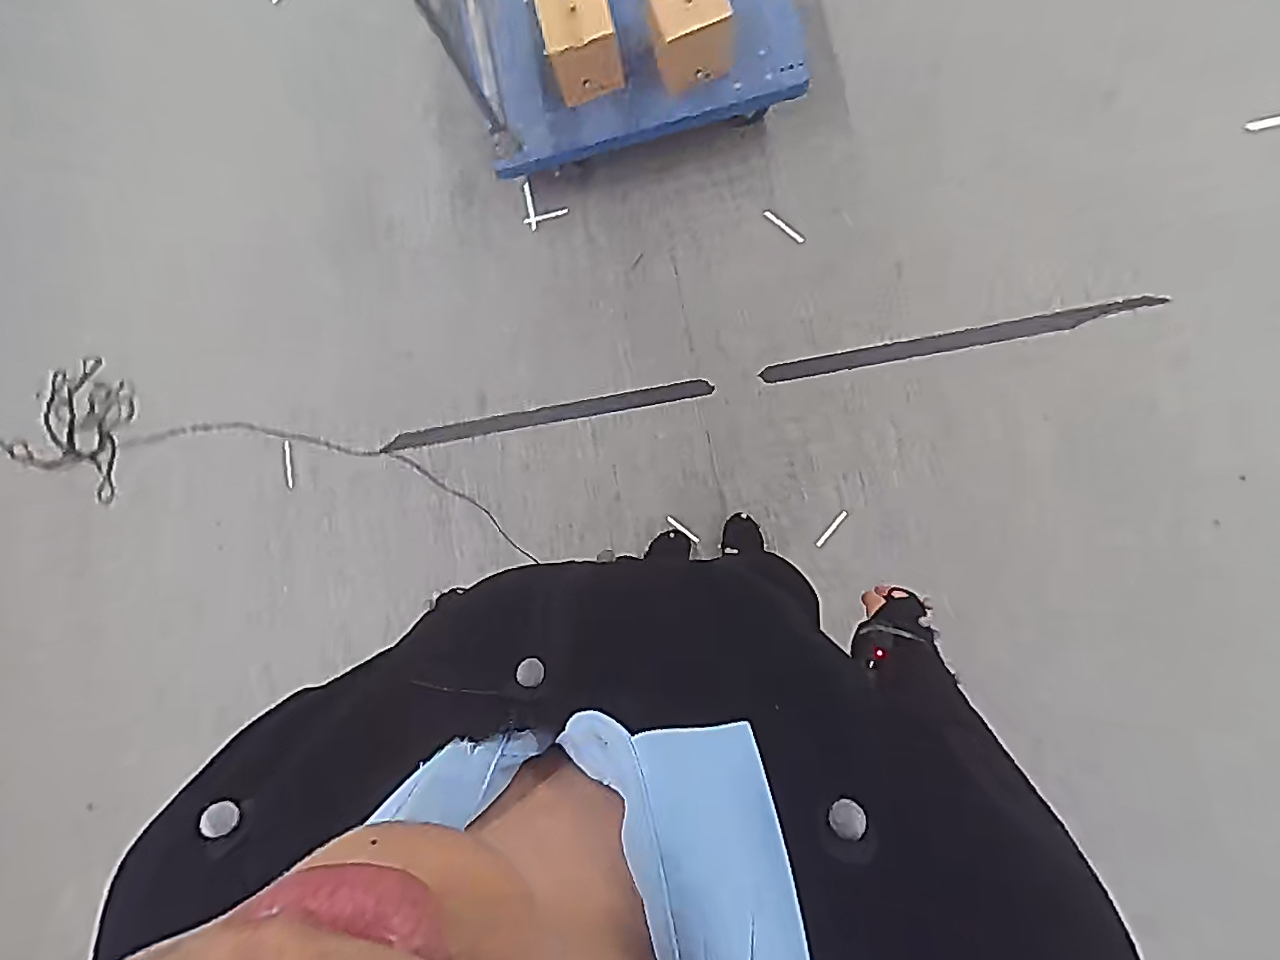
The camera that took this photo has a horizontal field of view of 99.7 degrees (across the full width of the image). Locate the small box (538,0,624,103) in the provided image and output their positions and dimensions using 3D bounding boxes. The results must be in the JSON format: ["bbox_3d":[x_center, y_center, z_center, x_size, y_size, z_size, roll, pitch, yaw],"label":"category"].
[{"bbox_3d":[-0.146,-1.107,1.360,0.168,0.176,0.179,-15,84,5],"label":"small box"}]
